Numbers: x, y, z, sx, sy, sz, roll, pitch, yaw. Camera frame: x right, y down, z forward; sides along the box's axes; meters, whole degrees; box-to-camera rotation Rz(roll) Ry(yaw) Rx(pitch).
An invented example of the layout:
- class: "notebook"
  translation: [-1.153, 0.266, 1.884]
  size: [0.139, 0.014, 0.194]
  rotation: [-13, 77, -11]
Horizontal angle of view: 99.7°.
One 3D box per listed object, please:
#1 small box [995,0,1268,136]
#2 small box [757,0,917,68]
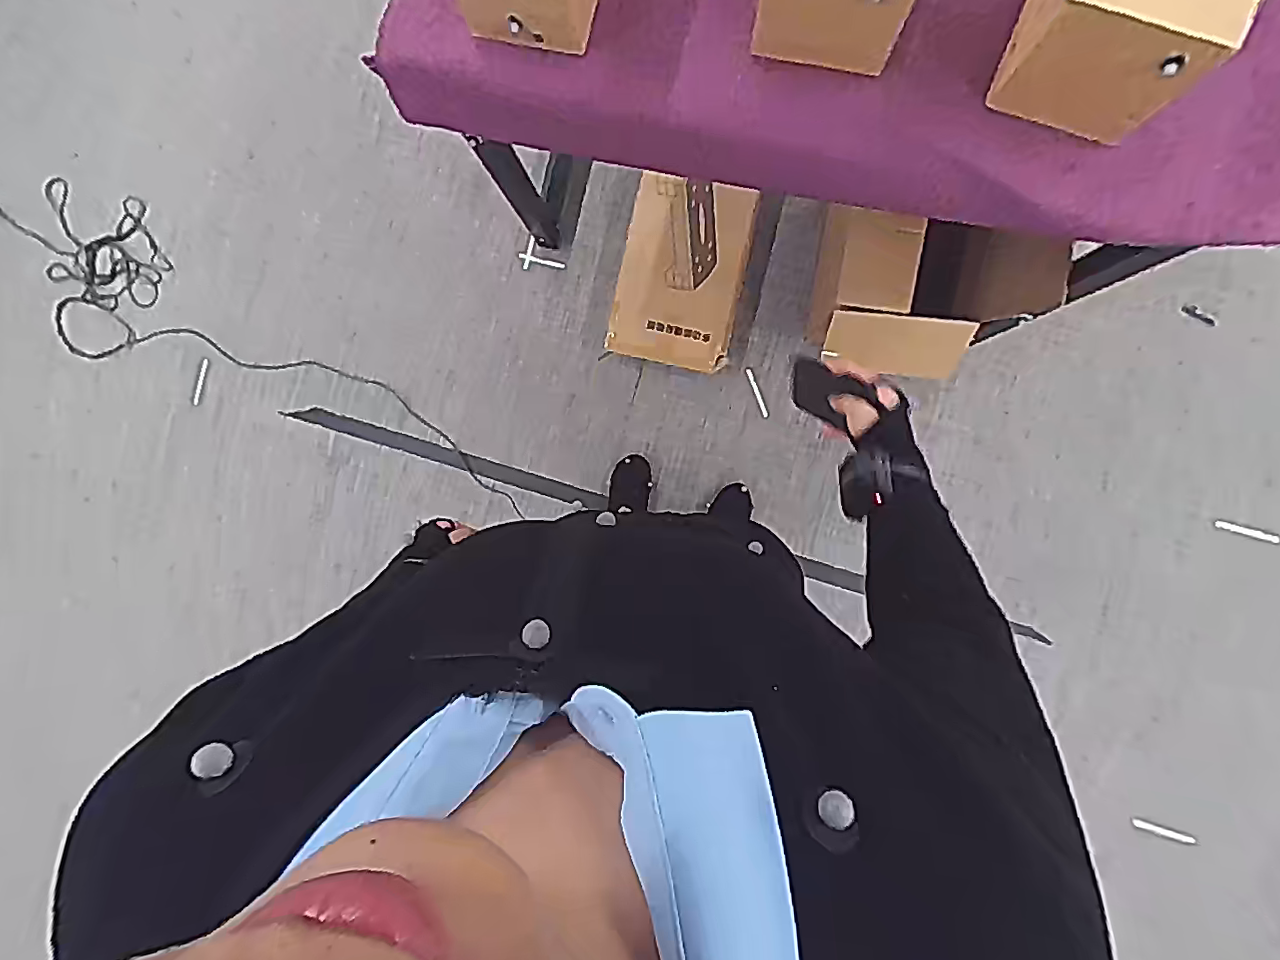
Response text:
- class: "small box"
  translation: [0.552, -0.533, 0.612]
  size: [0.179, 0.176, 0.168]
  rotation: [21, 93, 4]
- class: "small box"
  translation: [0.250, -0.632, 0.634]
  size: [0.179, 0.176, 0.168]
  rotation: [14, 91, 5]
